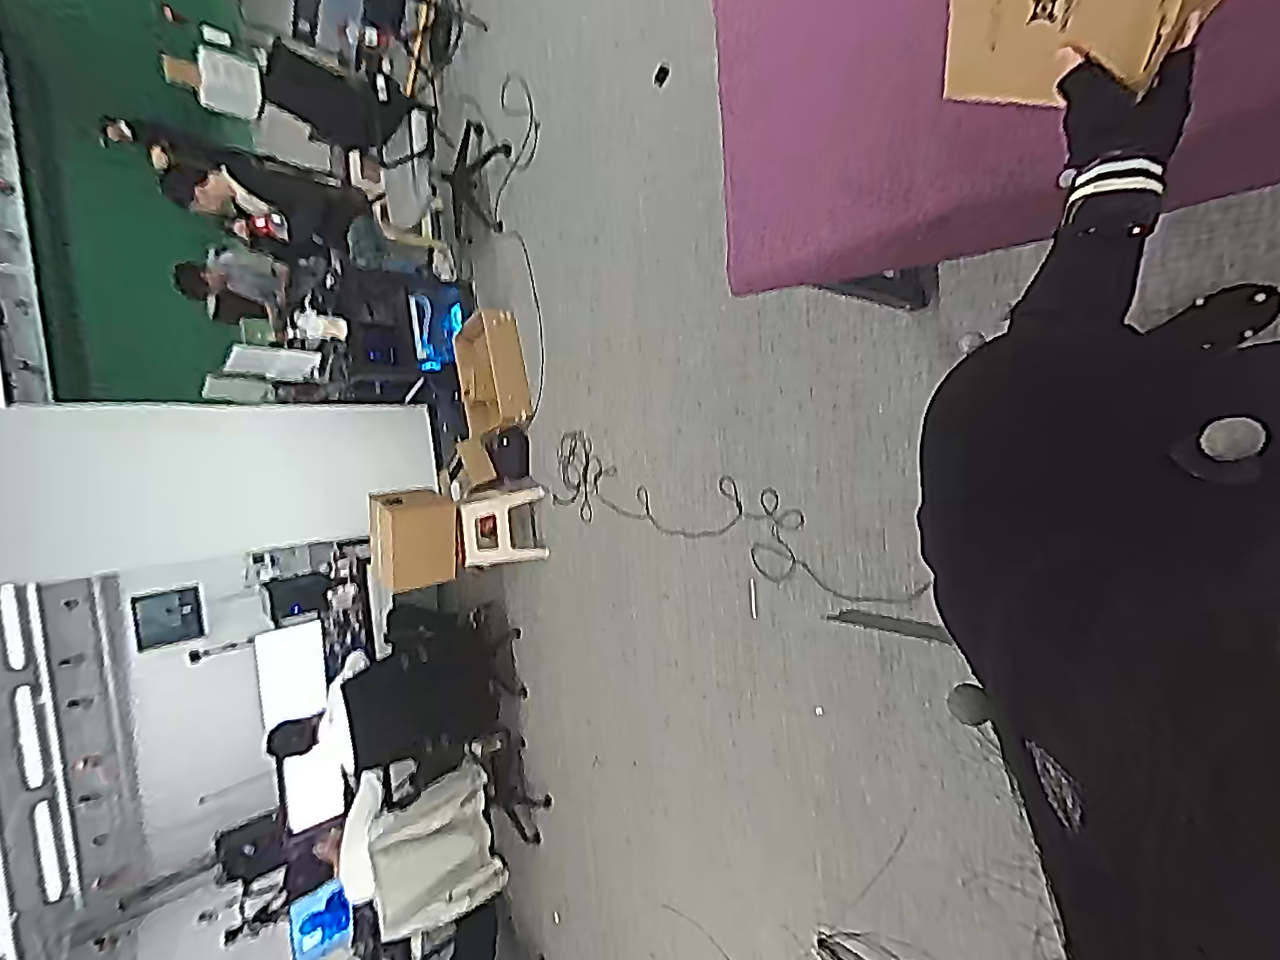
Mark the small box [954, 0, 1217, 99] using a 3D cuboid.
[{"bbox_3d":[0.412,-0.476,0.475,0.176,0.168,0.179,-48,51,-6],"label":"small box"}]
